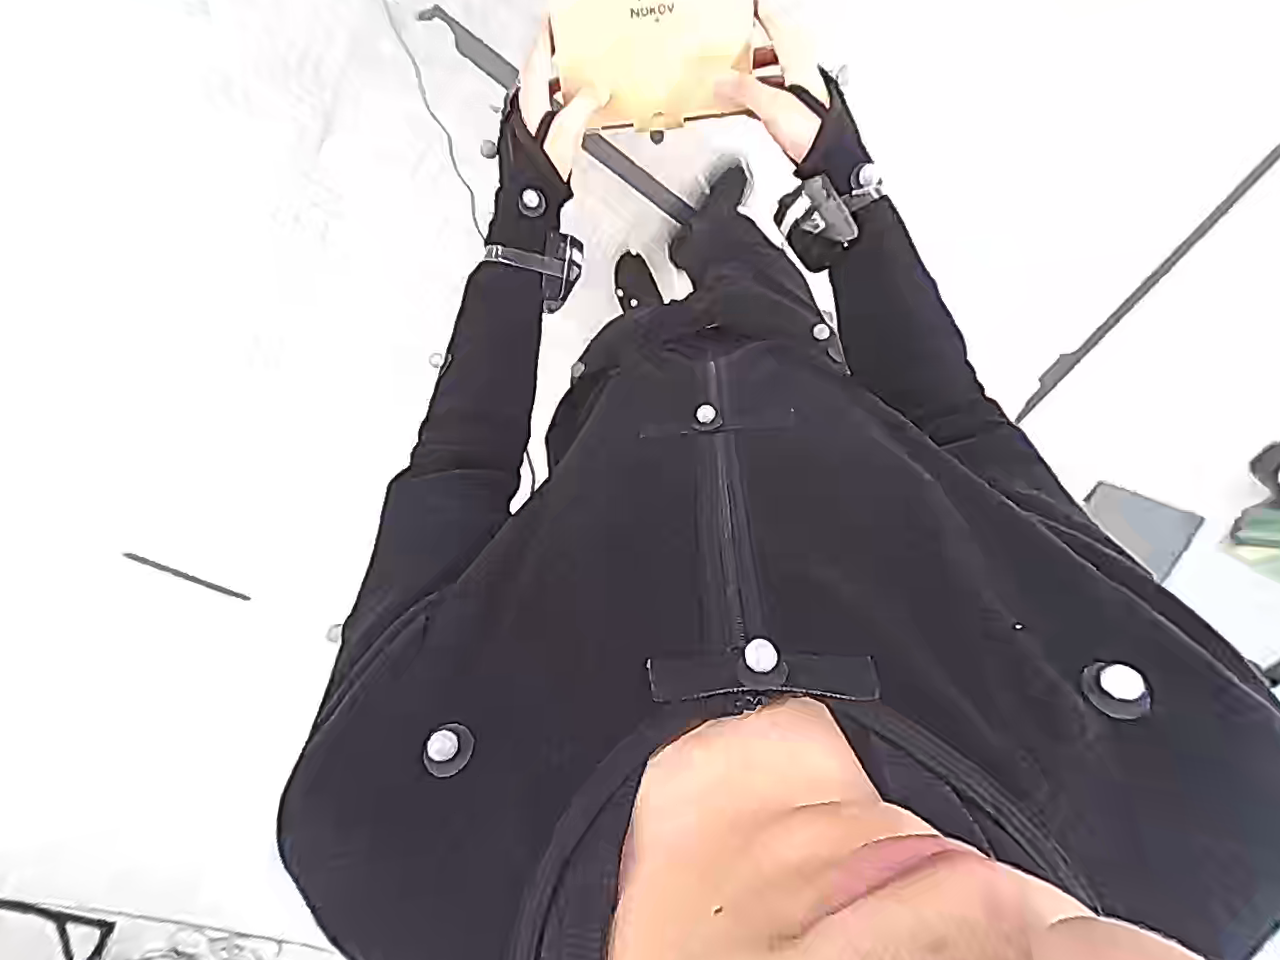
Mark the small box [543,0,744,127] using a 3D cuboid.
[{"bbox_3d":[0.004,-0.440,0.498,0.168,0.176,0.179,-4,124,3],"label":"small box"}]
